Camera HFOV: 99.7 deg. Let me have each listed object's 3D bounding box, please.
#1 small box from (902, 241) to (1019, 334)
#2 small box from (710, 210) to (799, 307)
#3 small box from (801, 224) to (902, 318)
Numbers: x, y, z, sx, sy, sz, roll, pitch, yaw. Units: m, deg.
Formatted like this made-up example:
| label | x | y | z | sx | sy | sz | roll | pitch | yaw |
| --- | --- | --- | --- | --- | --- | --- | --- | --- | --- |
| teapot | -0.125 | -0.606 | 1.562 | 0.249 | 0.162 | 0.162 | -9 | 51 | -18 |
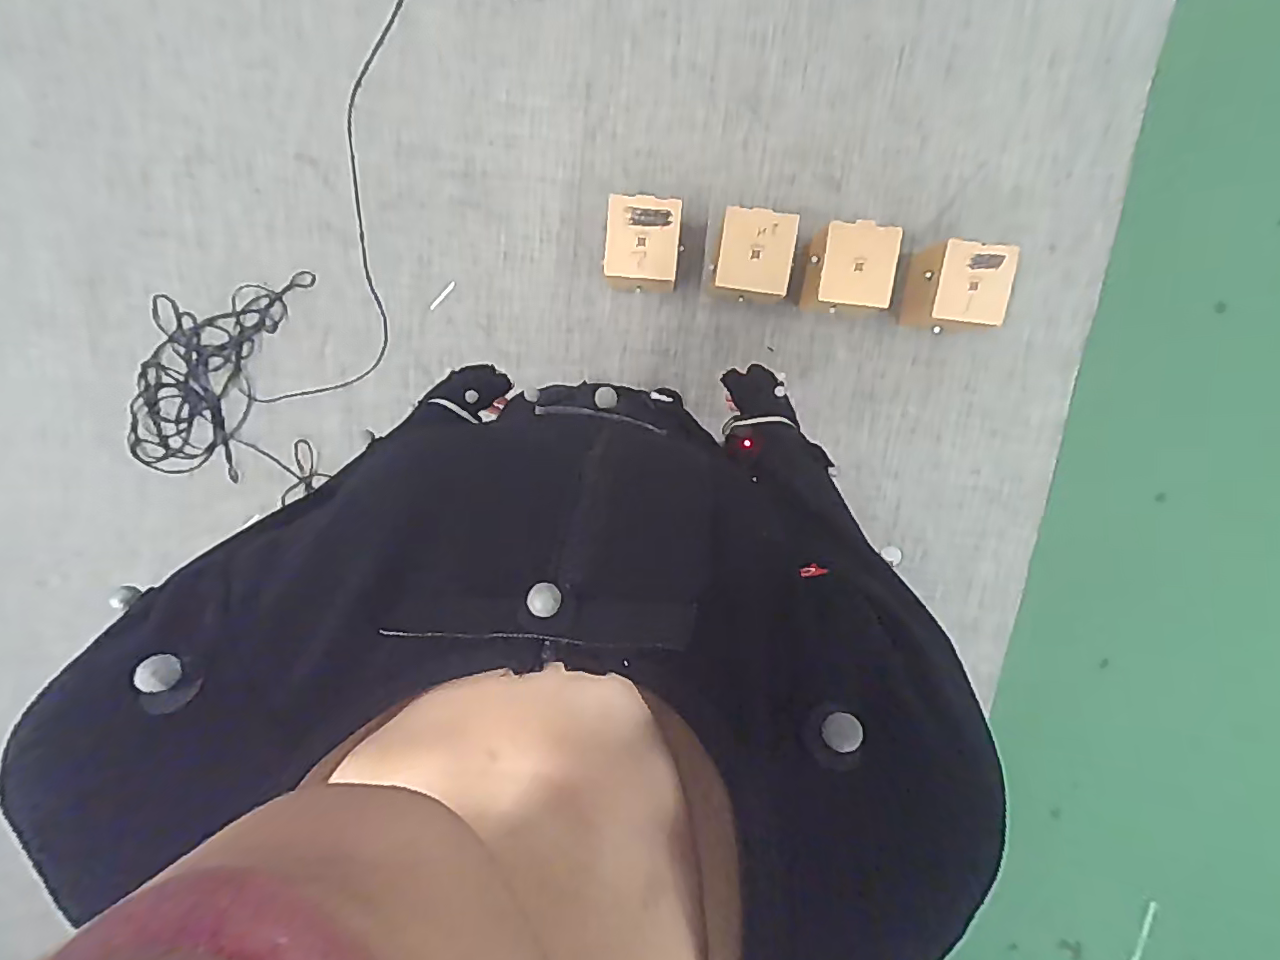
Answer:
| label | x | y | z | sx | sy | sz | roll | pitch | yaw |
| --- | --- | --- | --- | --- | --- | --- | --- | --- | --- |
| small box | 0.755 | -0.454 | 1.296 | 0.168 | 0.176 | 0.179 | 6 | 101 | 0 |
| small box | 0.264 | -0.519 | 1.291 | 0.168 | 0.176 | 0.179 | 8 | 101 | -1 |
| small box | 0.495 | -0.491 | 1.294 | 0.168 | 0.176 | 0.179 | 6 | 100 | 0 |
